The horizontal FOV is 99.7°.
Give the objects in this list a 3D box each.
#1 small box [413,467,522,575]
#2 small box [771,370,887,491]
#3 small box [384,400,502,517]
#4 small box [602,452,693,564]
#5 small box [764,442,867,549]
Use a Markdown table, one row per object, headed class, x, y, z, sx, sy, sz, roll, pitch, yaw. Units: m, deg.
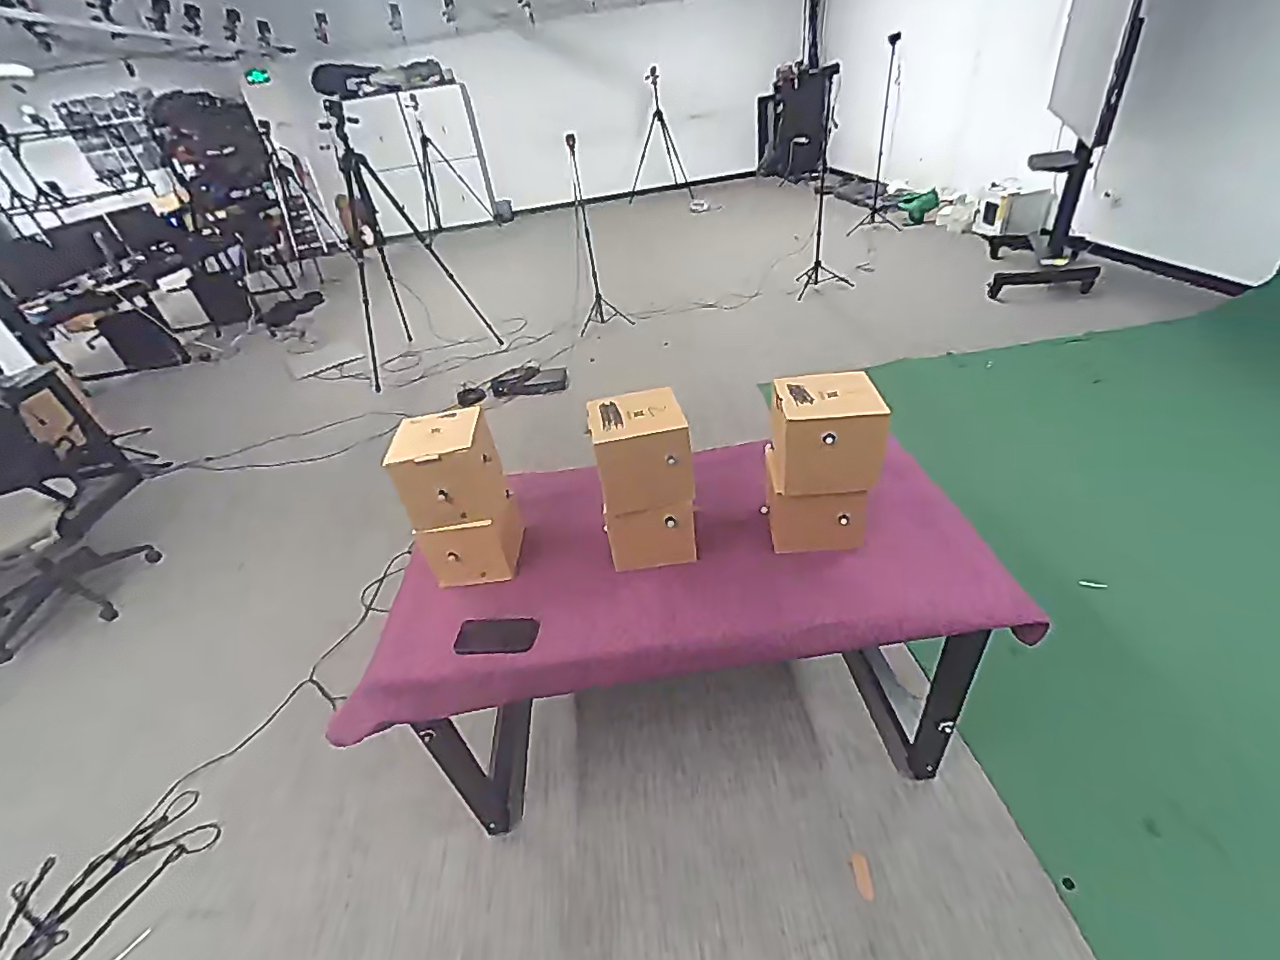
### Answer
| class | x | y | z | sx | sy | sz | roll | pitch | yaw |
| --- | --- | --- | --- | --- | --- | --- | --- | --- | --- |
| small box | -0.369 | 0.096 | 1.196 | 0.168 | 0.176 | 0.179 | -6 | 36 | 3 |
| small box | 0.346 | -0.091 | 1.024 | 0.179 | 0.176 | 0.168 | -3 | 37 | 7 |
| small box | -0.390 | -0.039 | 1.105 | 0.168 | 0.176 | 0.179 | -9 | 37 | -1 |
| small box | 0.019 | 0.061 | 1.160 | 0.179 | 0.176 | 0.168 | -7 | 36 | 3 |
| small box | 0.357 | 0.031 | 1.134 | 0.179 | 0.176 | 0.168 | -4 | 36 | 8 |
